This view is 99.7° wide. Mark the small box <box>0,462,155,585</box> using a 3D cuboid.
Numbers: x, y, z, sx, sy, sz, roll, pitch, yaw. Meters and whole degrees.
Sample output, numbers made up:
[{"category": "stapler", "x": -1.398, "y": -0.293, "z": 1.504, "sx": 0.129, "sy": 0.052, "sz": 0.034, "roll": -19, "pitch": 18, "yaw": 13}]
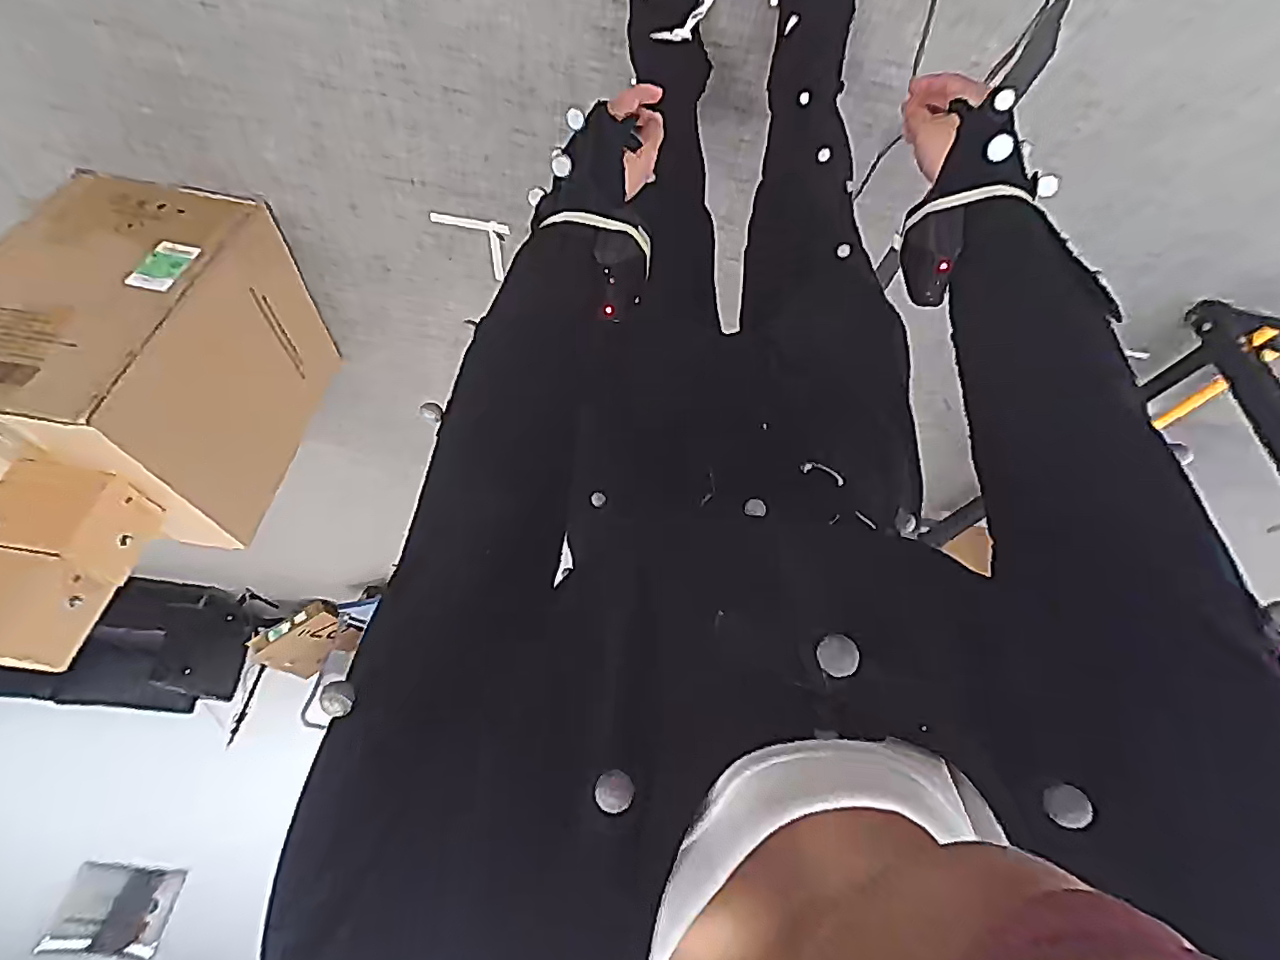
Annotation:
[{"category": "small box", "x": -1.074, "y": 0.083, "z": 1.016, "sx": 0.179, "sy": 0.176, "sz": 0.168, "roll": 10, "pitch": 150, "yaw": -5}]

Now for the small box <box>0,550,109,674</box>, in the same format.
[{"category": "small box", "x": -1.097, "y": 0.222, "z": 0.929, "sx": 0.179, "sy": 0.176, "sz": 0.168, "roll": 11, "pitch": 150, "yaw": -7}]
